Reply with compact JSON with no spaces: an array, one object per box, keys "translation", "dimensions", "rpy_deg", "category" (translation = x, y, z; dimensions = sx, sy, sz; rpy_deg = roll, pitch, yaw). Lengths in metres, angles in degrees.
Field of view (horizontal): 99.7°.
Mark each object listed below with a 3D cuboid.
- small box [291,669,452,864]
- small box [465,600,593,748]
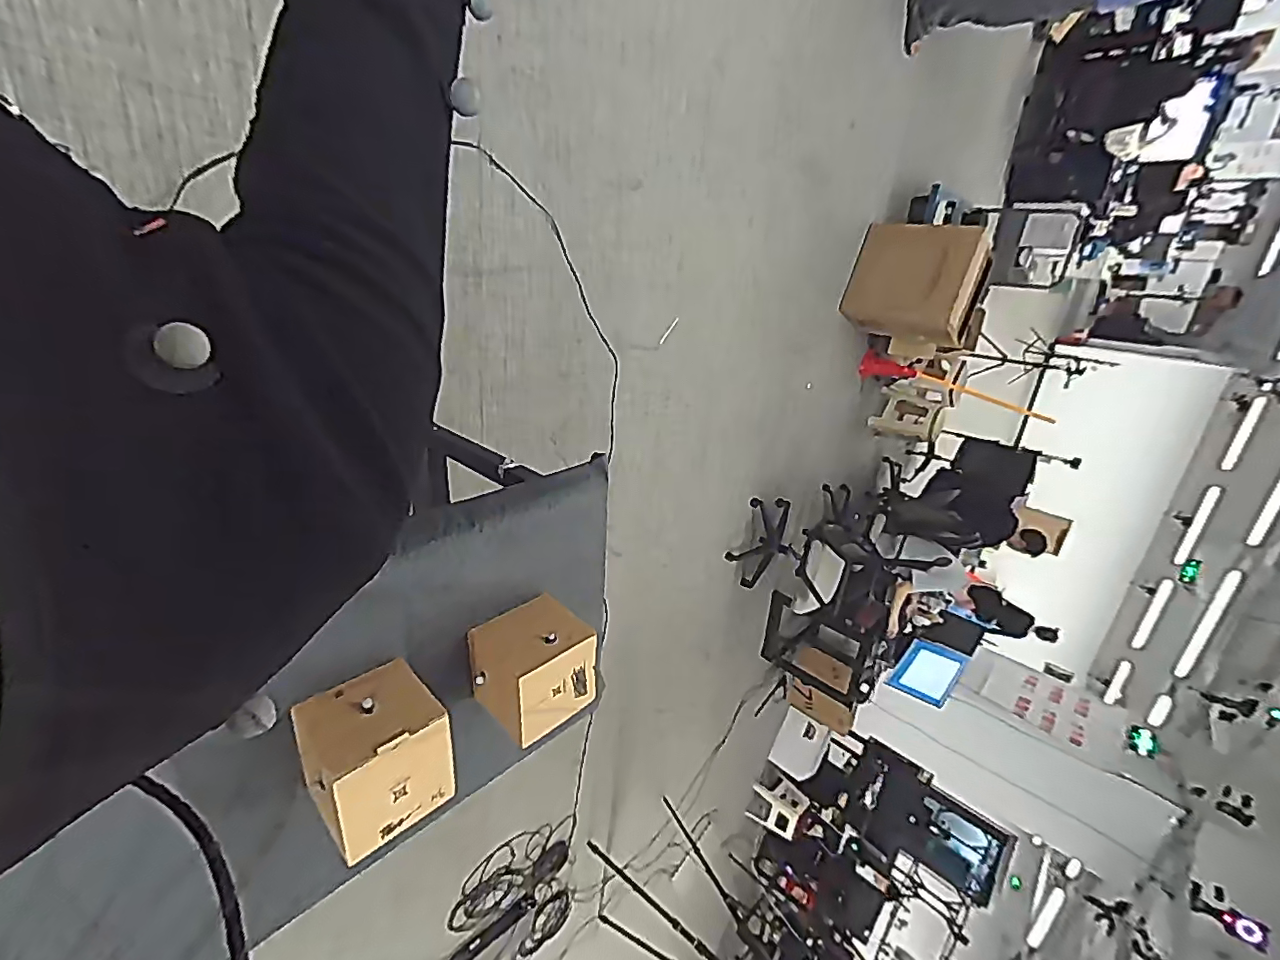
[{"translation":[-0.412,0.421,0.835],"dimensions":[0.168,0.176,0.179],"rpy_deg":[-18,121,-44],"category":"small box"},{"translation":[-0.212,0.358,1.039],"dimensions":[0.179,0.176,0.168],"rpy_deg":[-20,122,-42],"category":"small box"}]
